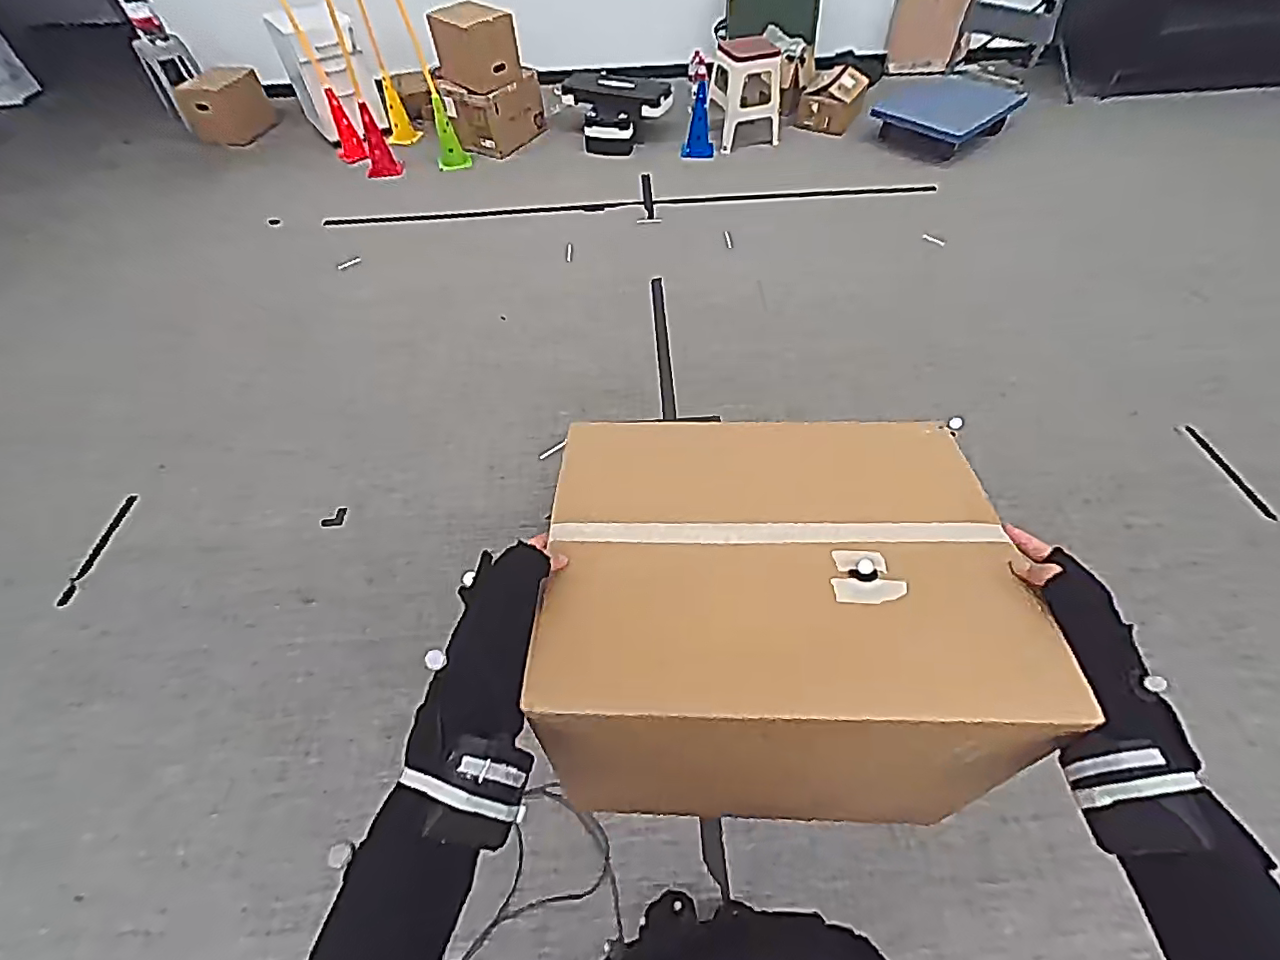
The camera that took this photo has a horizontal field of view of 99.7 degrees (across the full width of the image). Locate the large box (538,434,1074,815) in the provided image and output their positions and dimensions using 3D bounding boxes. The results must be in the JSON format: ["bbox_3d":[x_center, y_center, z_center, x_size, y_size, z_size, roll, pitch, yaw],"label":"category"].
[{"bbox_3d":[0.125,0.163,0.606,0.408,0.320,0.320,0,47,2],"label":"large box"}]
